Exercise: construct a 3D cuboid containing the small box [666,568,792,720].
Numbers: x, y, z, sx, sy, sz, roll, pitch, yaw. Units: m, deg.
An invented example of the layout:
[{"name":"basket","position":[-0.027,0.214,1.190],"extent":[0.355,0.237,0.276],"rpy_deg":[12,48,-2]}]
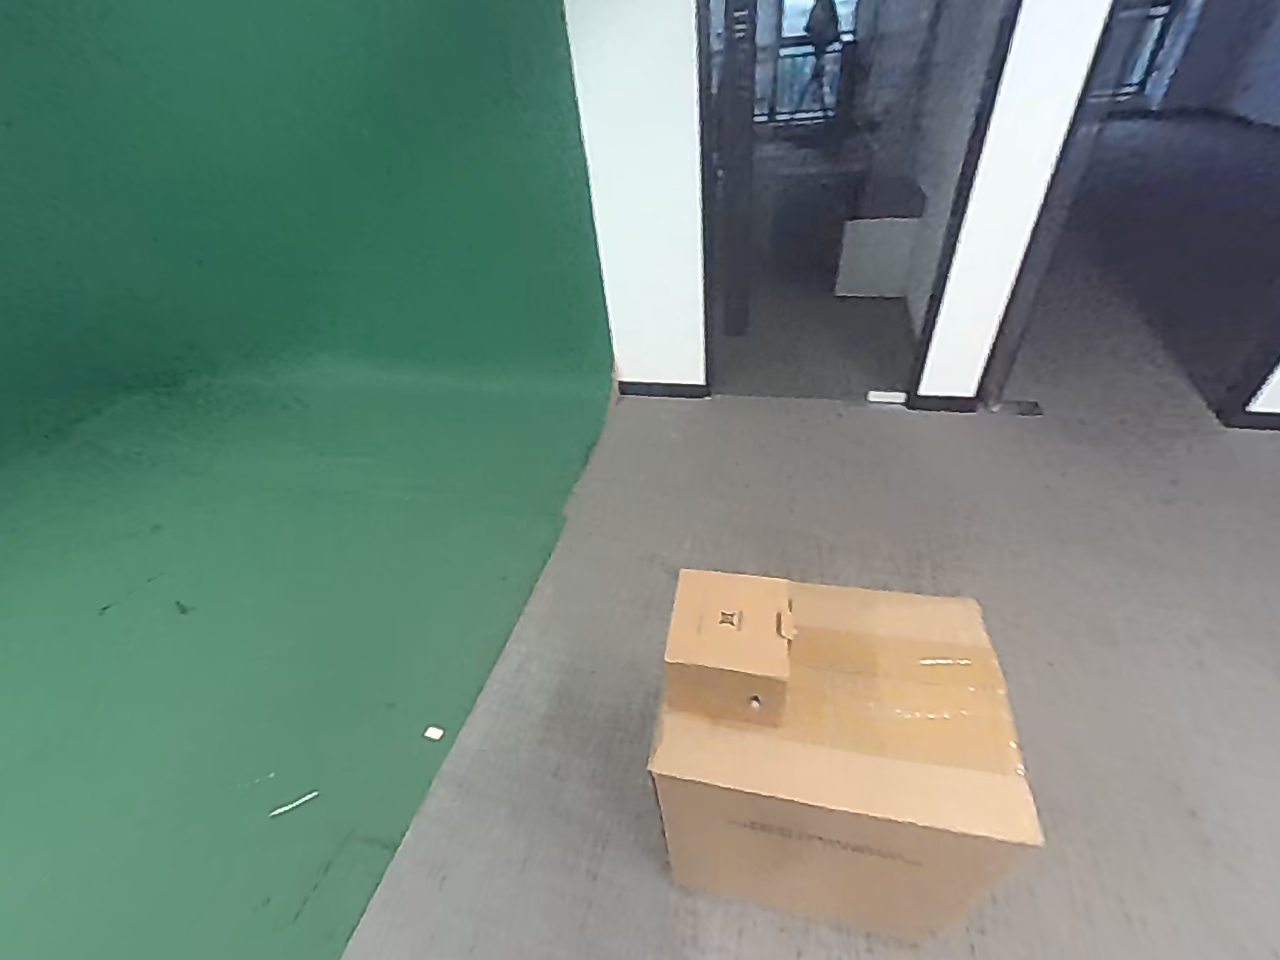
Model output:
[{"name":"small box","position":[0.147,0.264,0.865],"extent":[0.179,0.176,0.168],"rpy_deg":[3,44,13]}]
